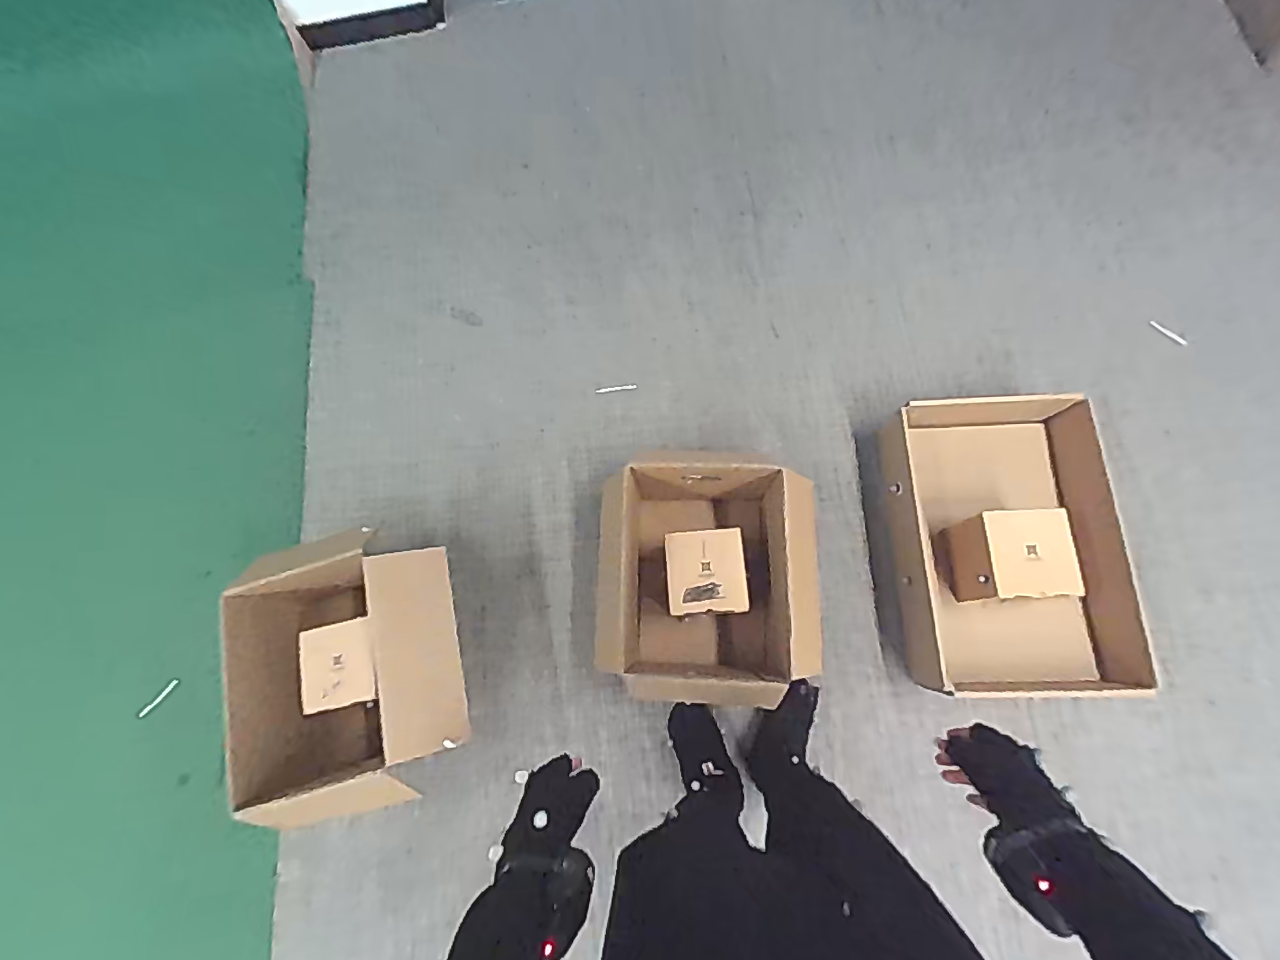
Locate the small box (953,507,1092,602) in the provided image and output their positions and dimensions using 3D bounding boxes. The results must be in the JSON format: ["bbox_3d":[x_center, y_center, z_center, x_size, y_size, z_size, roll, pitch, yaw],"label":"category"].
[{"bbox_3d":[0.792,0.163,1.143,0.168,0.176,0.179,-3,75,4],"label":"small box"}]
